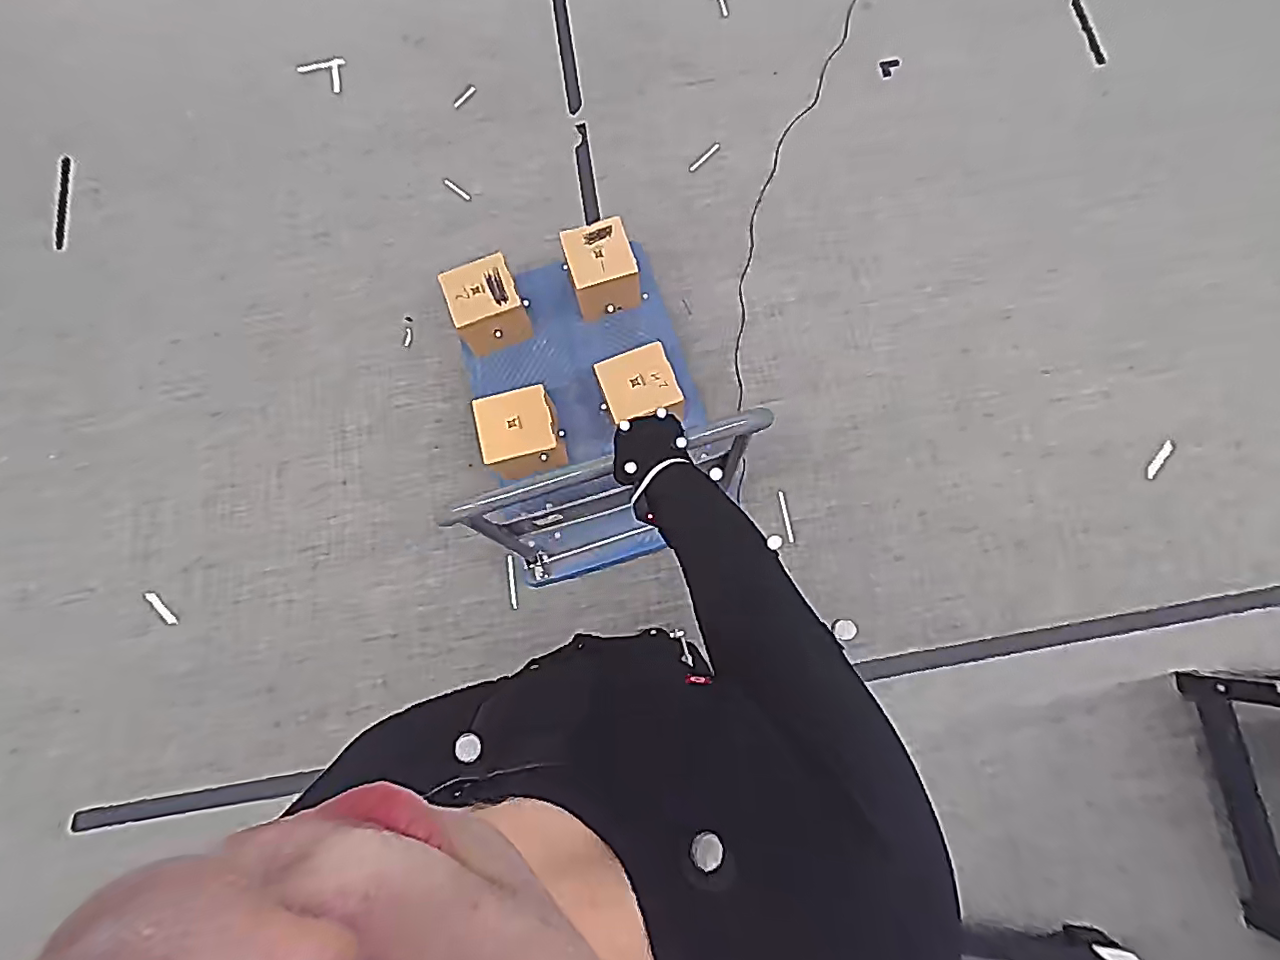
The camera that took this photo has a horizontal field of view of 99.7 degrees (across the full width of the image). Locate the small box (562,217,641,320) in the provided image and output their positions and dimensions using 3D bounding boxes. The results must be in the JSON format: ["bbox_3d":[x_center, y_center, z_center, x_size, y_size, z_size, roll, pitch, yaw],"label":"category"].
[{"bbox_3d":[-0.100,-0.562,1.451,0.168,0.176,0.179,-17,78,-2],"label":"small box"}]

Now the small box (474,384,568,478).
[{"bbox_3d":[-0.292,-0.115,1.354,0.179,0.176,0.168,-15,76,-3],"label":"small box"}]

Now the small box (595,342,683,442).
[{"bbox_3d":[0.002,-0.214,1.364,0.179,0.176,0.168,-20,77,-2],"label":"small box"}]
